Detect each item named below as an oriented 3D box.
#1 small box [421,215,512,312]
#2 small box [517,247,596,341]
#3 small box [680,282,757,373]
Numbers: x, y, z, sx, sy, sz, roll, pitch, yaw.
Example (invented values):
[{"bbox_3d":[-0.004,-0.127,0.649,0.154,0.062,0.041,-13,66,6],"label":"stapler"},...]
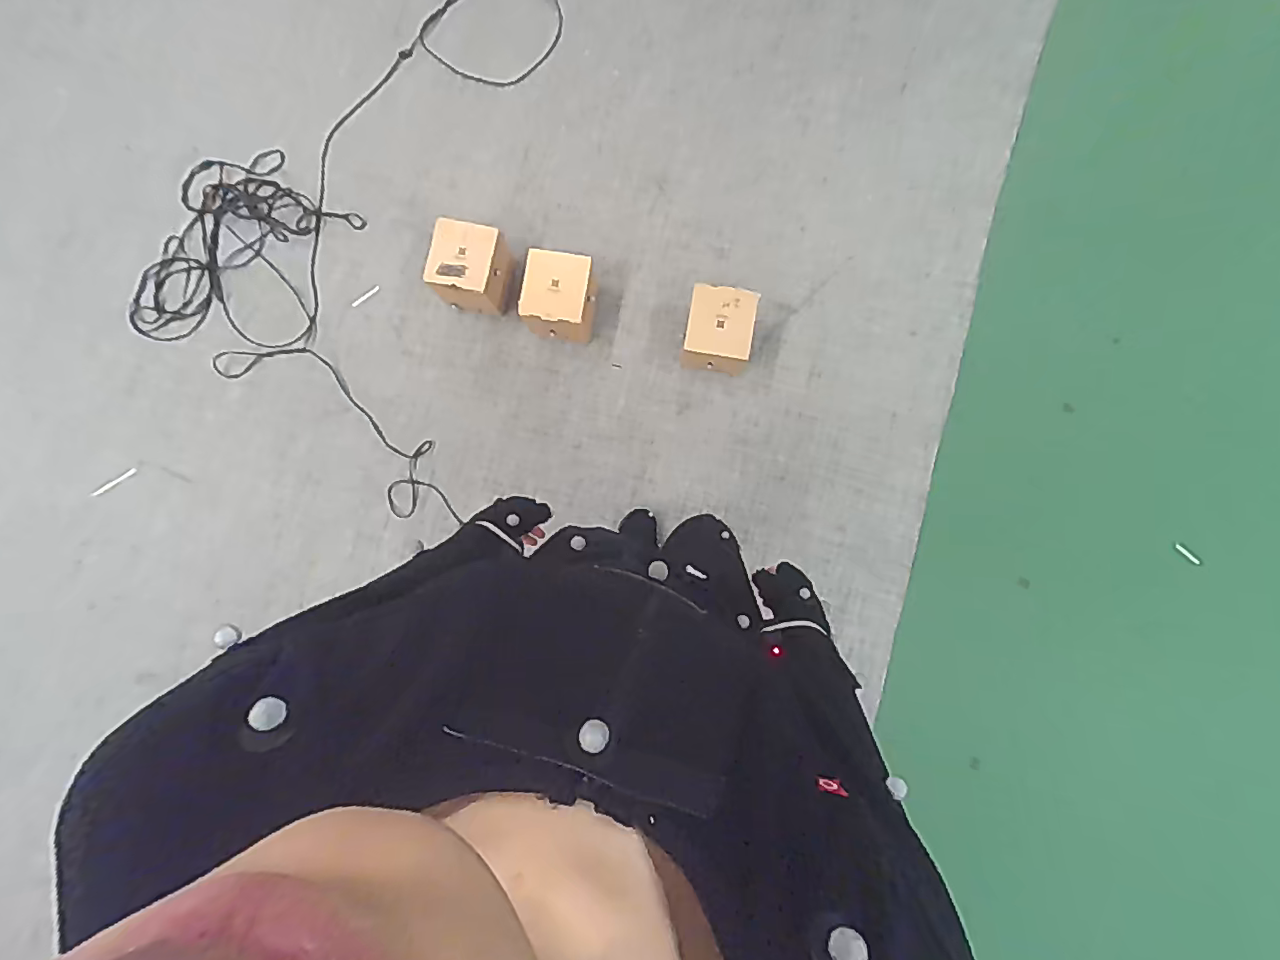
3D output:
[{"bbox_3d":[-0.457,-0.571,1.450,0.168,0.176,0.179,12,87,2],"label":"small box"},{"bbox_3d":[-0.215,-0.490,1.441,0.168,0.176,0.179,9,88,2],"label":"small box"},{"bbox_3d":[0.200,-0.394,1.425,0.168,0.176,0.179,10,88,1],"label":"small box"}]
